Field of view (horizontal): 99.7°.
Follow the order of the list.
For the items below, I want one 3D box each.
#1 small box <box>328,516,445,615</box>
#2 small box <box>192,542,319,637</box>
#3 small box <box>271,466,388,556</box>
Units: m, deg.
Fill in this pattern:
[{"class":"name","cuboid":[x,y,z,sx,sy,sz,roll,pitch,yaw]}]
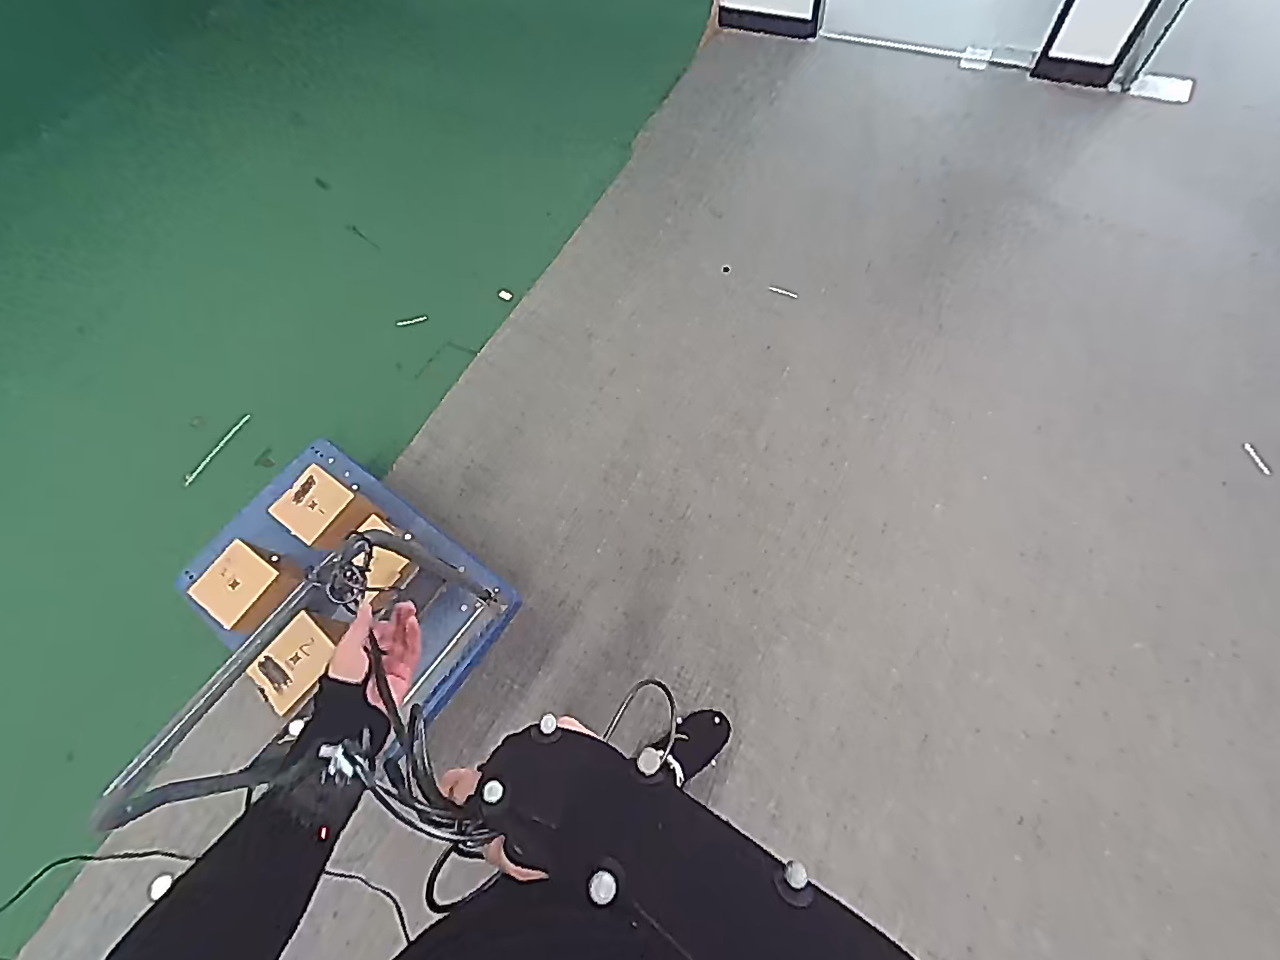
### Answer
[{"class":"small box","cuboid":[-0.644,0.228,1.392,0.179,0.176,0.168,35,76,19]},{"class":"small box","cuboid":[-0.990,0.291,1.409,0.179,0.176,0.168,30,73,18]},{"class":"small box","cuboid":[-0.837,0.096,1.472,0.179,0.176,0.168,31,75,18]}]
